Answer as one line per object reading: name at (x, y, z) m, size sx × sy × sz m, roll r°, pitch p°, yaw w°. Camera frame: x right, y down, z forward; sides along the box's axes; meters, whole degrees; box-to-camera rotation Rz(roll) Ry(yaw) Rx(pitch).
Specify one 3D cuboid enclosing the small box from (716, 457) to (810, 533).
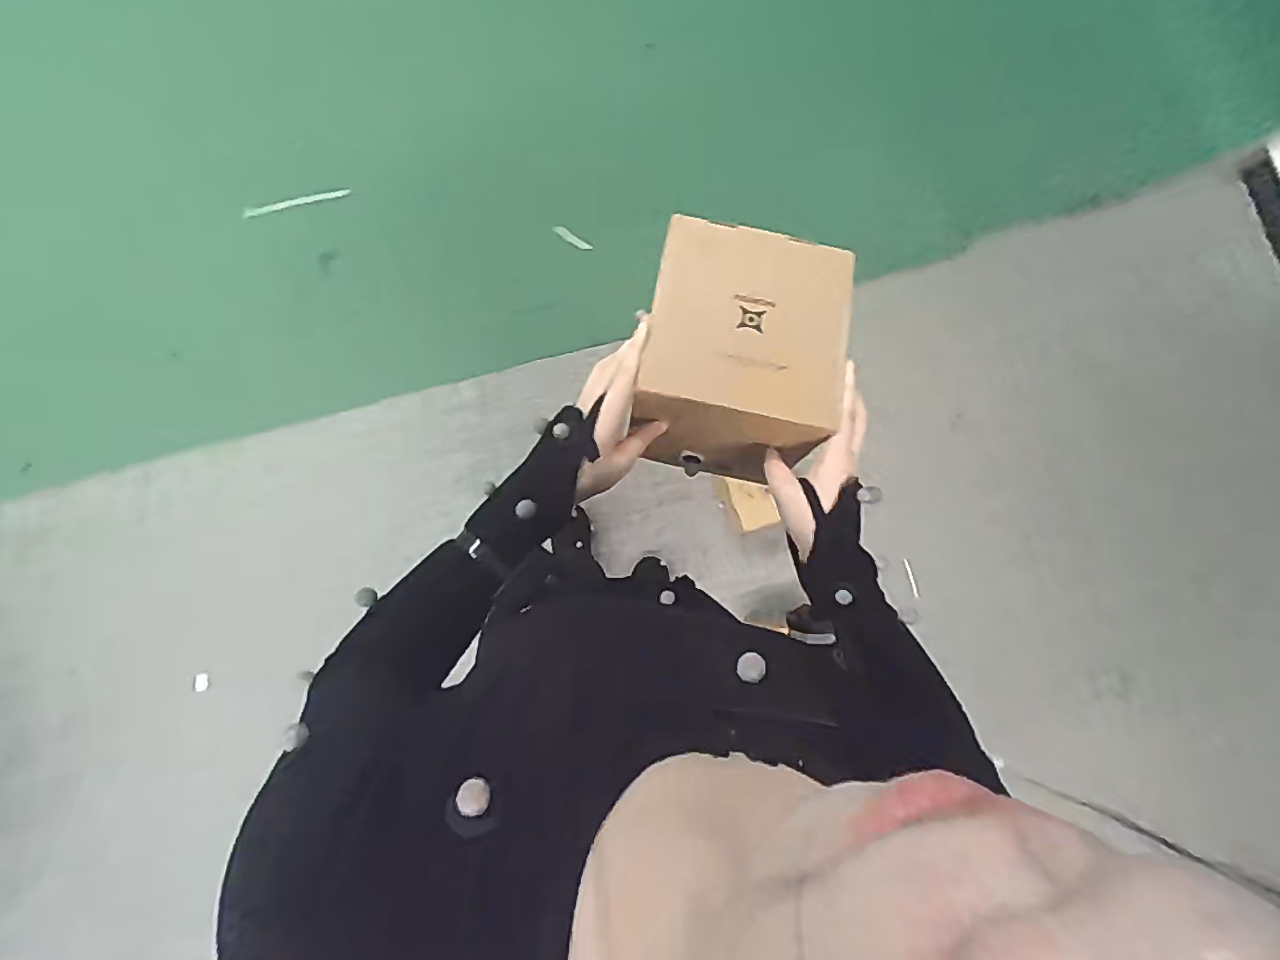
small box at (0.322, 0.039, 1.447) m, size 0.179 × 0.176 × 0.168 m, roll -18°, pitch 84°, yaw -4°

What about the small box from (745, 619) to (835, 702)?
small box at (0.383, 0.460, 1.402) m, size 0.179 × 0.176 × 0.168 m, roll -5°, pitch 84°, yaw -2°

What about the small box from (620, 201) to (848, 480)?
small box at (0.077, -0.118, 0.513) m, size 0.168 × 0.176 × 0.179 m, roll 12°, pitch 73°, yaw -1°
